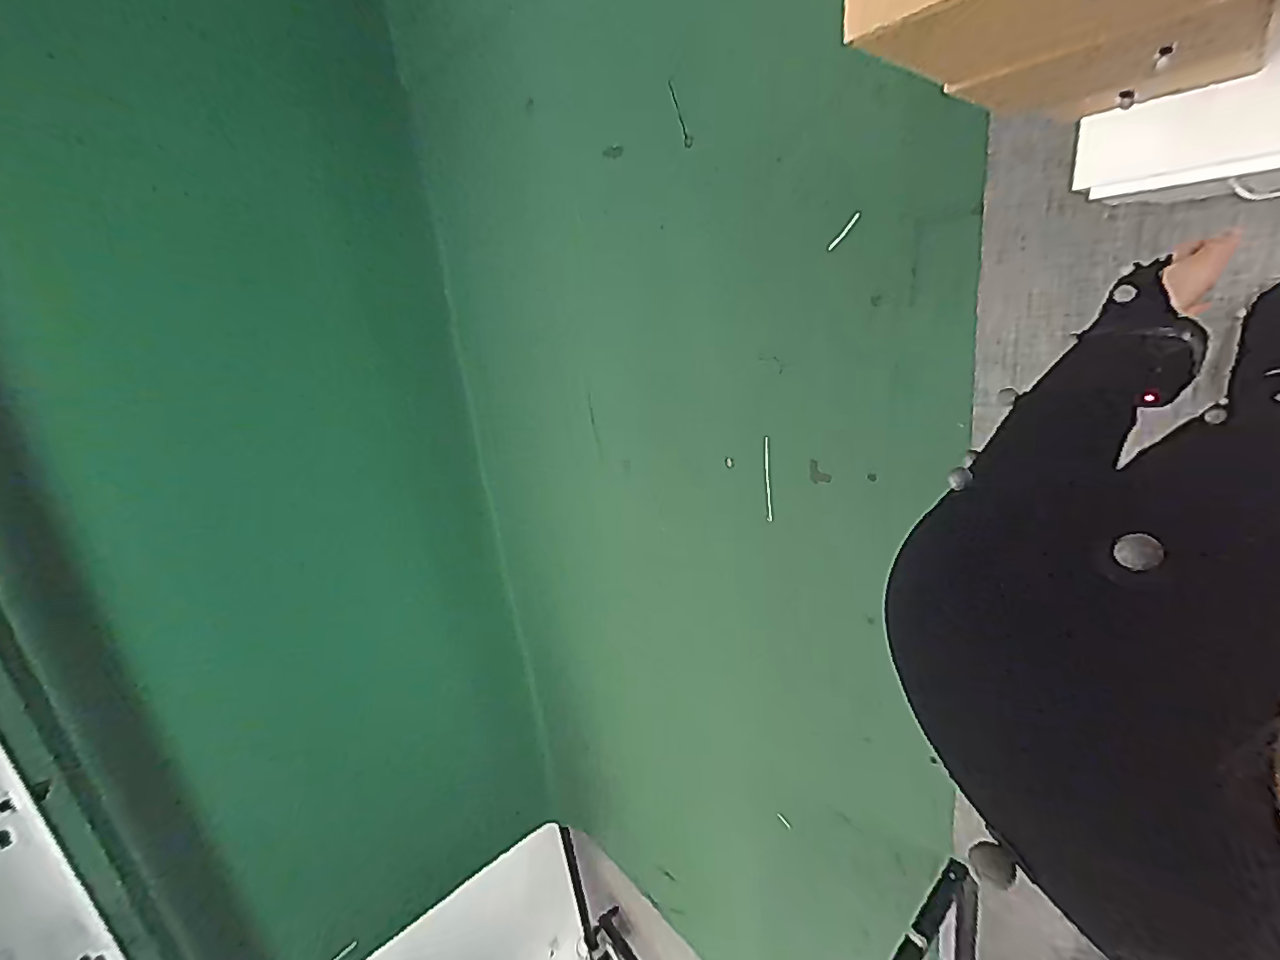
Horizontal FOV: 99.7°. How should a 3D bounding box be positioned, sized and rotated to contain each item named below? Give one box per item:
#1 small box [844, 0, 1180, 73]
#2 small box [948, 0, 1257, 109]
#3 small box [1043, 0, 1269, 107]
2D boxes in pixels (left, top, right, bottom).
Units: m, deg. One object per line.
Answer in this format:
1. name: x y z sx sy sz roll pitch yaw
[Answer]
1. small box: 0.250 -0.383 0.330 0.179 0.176 0.168 15 118 46
2. small box: 0.374 -0.424 0.429 0.179 0.176 0.168 13 116 48
3. small box: 0.492 -0.486 0.522 0.168 0.176 0.179 13 117 46
